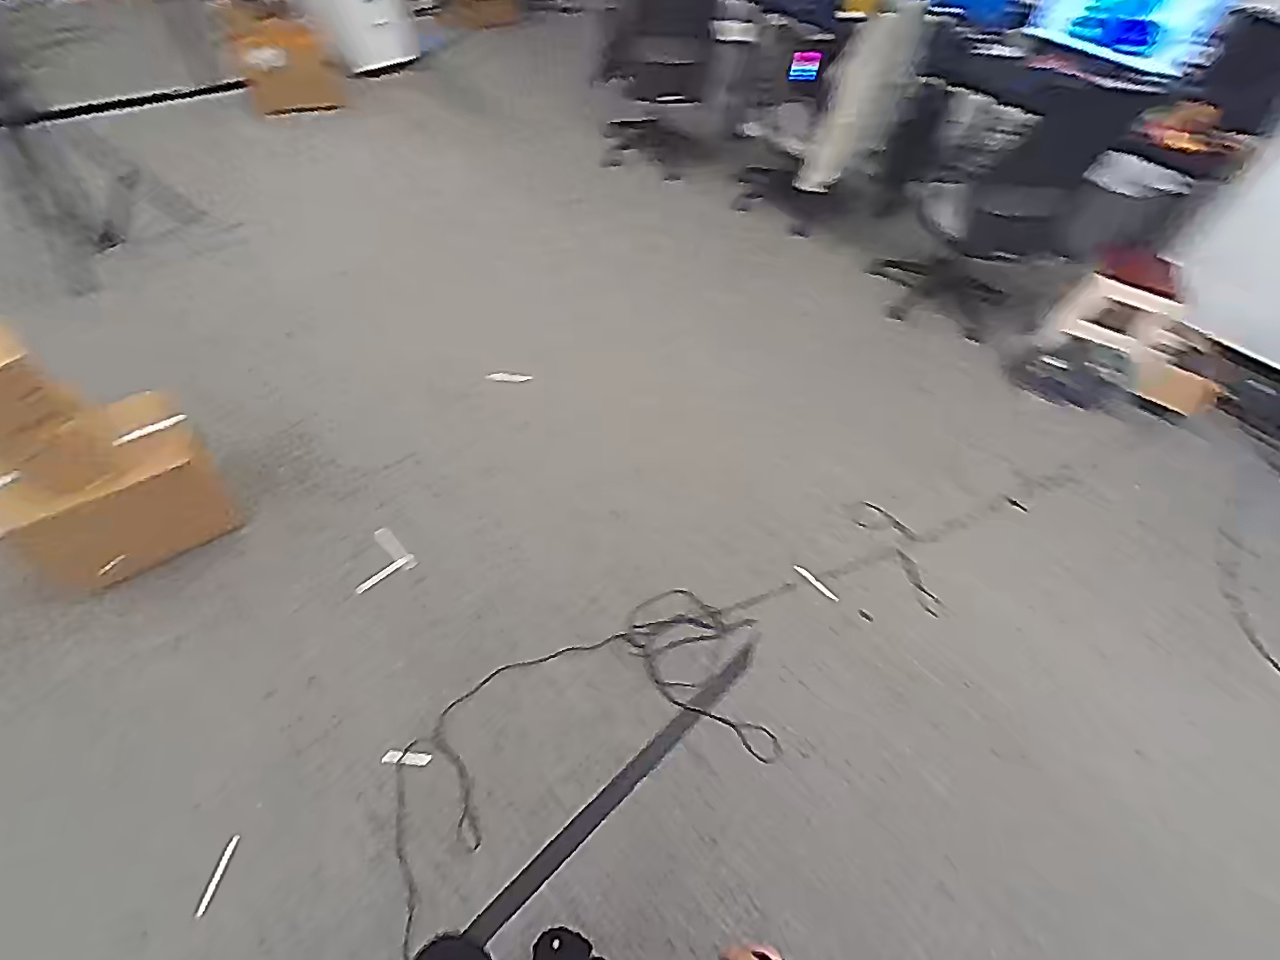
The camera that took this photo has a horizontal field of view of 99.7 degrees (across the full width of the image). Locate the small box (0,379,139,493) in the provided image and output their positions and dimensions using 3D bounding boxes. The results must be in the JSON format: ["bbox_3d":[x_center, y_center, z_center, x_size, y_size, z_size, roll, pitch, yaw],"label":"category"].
[{"bbox_3d":[-1.330,-0.098,1.258,0.179,0.176,0.168,-26,62,-25],"label":"small box"}]
